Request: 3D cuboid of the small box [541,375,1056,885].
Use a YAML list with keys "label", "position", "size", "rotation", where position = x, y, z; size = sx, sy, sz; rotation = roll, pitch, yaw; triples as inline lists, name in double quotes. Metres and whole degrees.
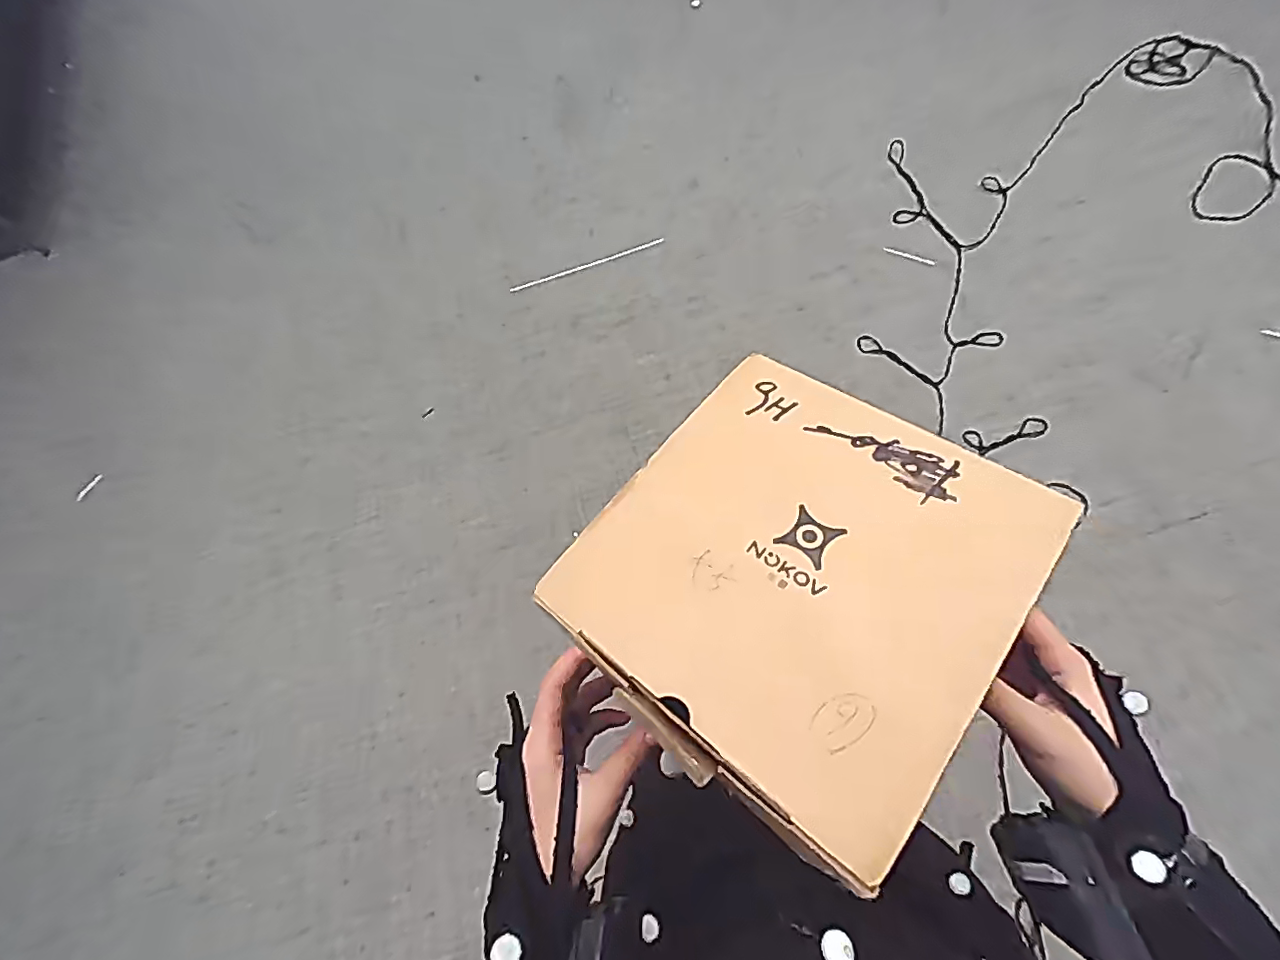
- label: "small box"
  position: [0.080, 0.081, 0.311]
  size: [0.168, 0.176, 0.179]
  rotation: [33, 70, 26]
